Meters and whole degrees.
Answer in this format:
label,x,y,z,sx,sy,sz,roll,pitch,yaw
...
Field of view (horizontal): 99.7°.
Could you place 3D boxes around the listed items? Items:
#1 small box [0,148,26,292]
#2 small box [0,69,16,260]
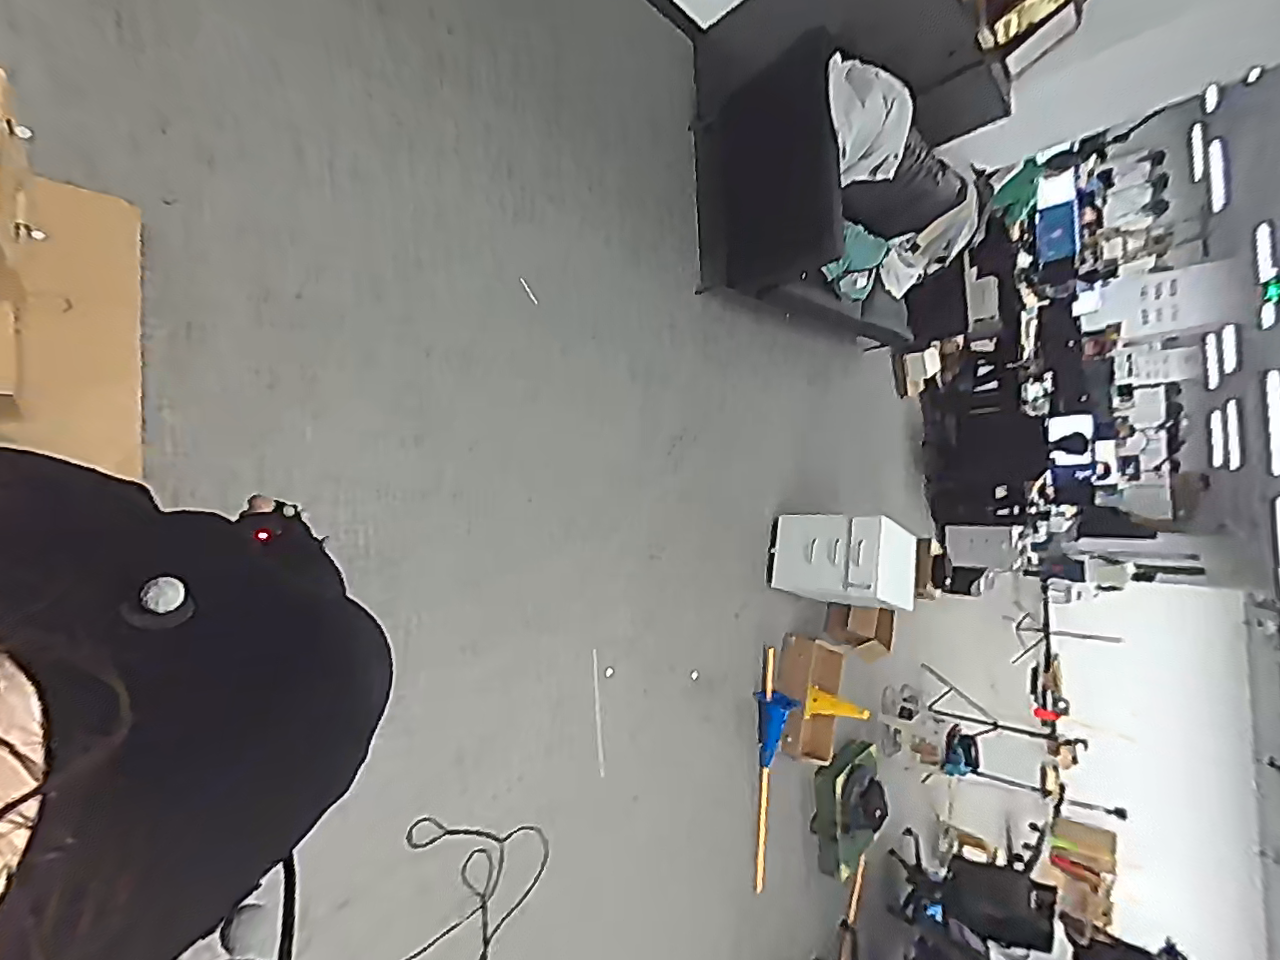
label,x,y,z,sx,sy,sz,roll,pitch,yaw
small box,-0.936,-0.360,0.701,0.179,0.176,0.168,3,85,-45
small box,-0.815,-0.370,0.586,0.168,0.176,0.179,4,85,-44
